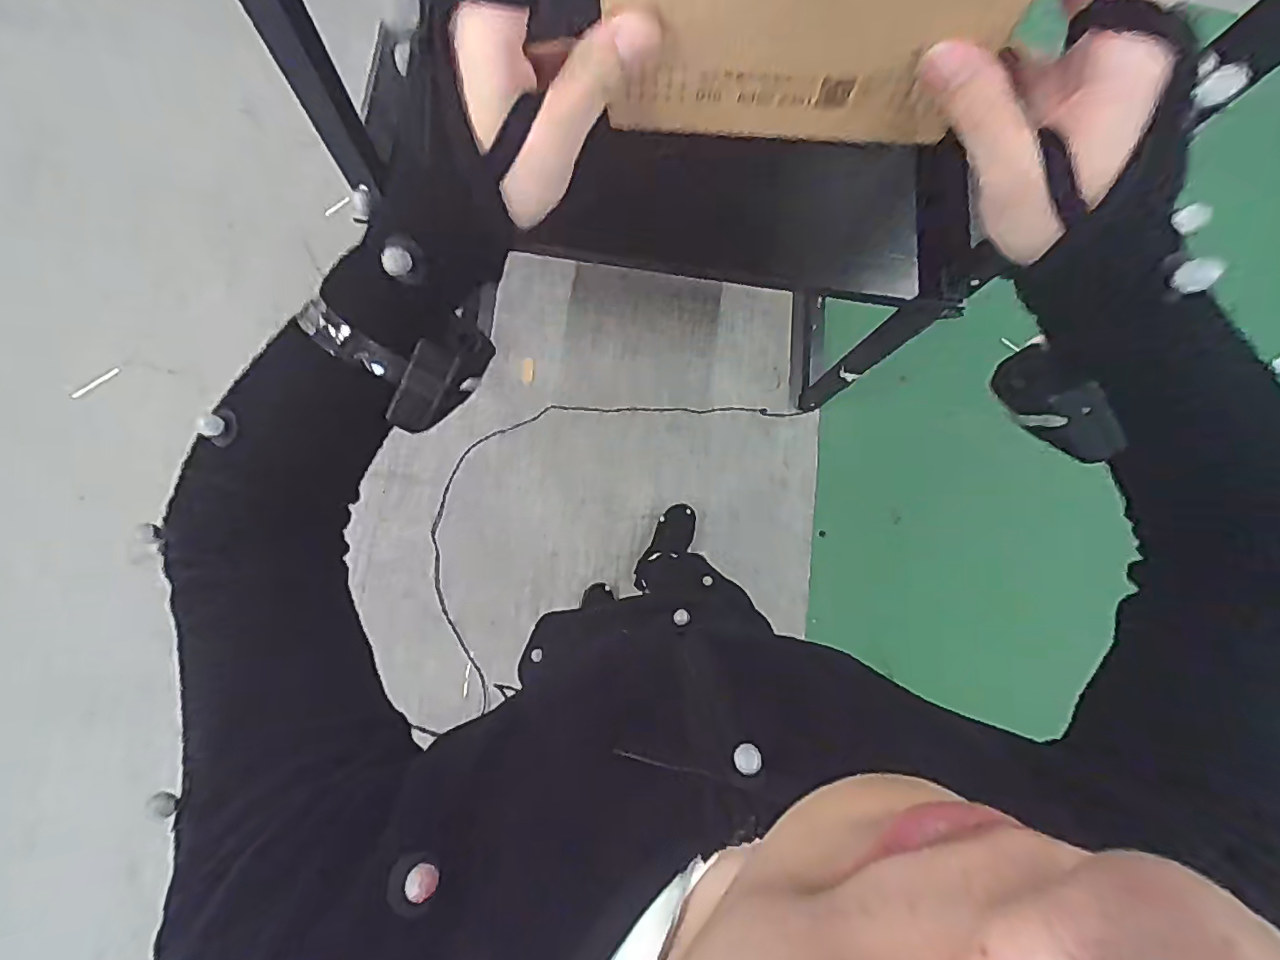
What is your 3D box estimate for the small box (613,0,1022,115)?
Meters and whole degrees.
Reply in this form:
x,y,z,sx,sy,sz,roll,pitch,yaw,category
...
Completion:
x,y,z,sx,sy,sz,roll,pitch,yaw,category
0.074,-0.272,0.196,0.168,0.176,0.179,3,78,0,small box
